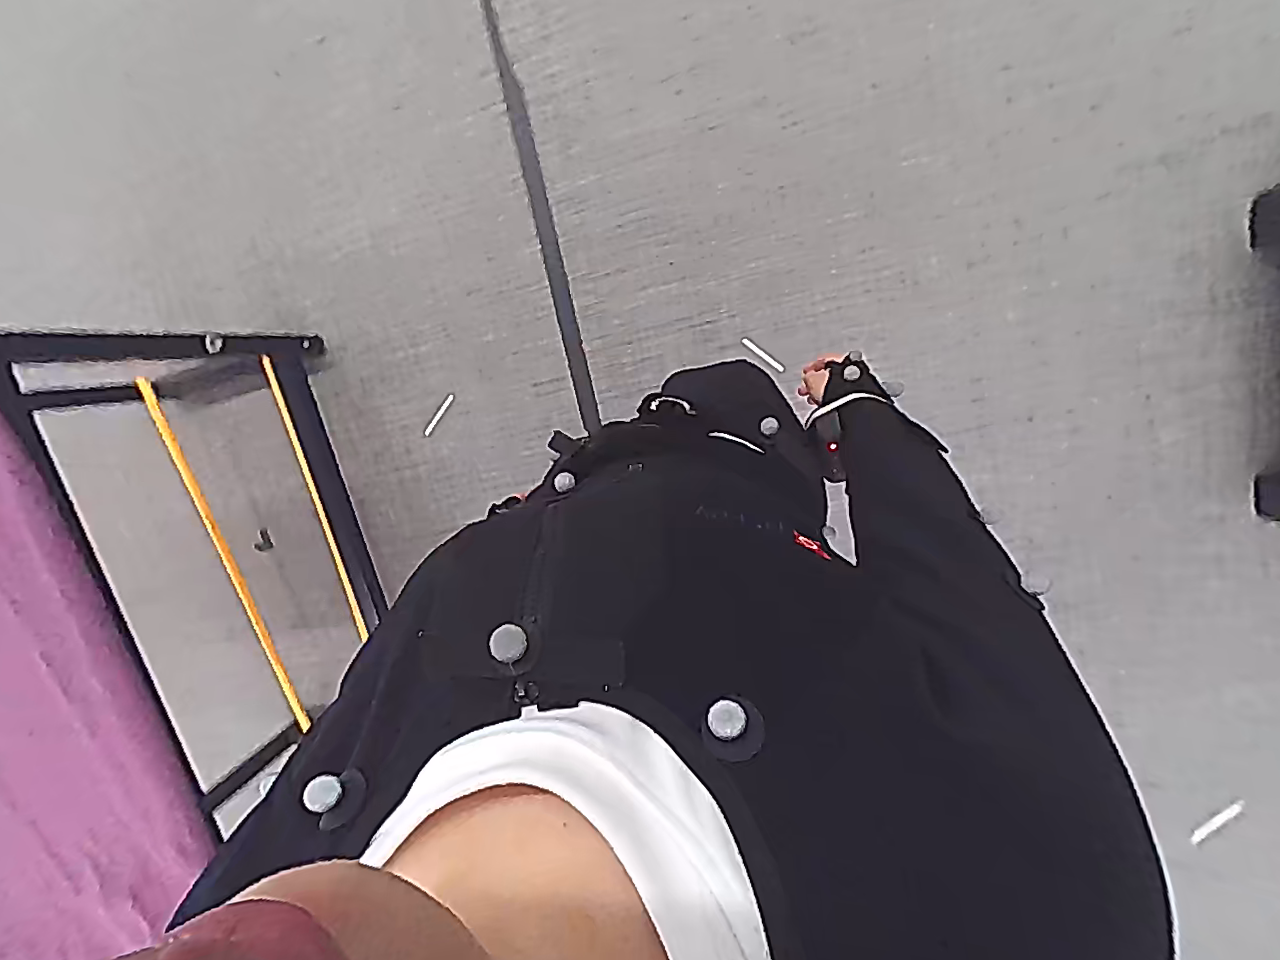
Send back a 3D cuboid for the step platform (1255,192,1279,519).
[{"bbox_3d":[1.372,-0.231,0.975,0.286,0.204,0.684,-12,100,13],"label":"step platform"}]
